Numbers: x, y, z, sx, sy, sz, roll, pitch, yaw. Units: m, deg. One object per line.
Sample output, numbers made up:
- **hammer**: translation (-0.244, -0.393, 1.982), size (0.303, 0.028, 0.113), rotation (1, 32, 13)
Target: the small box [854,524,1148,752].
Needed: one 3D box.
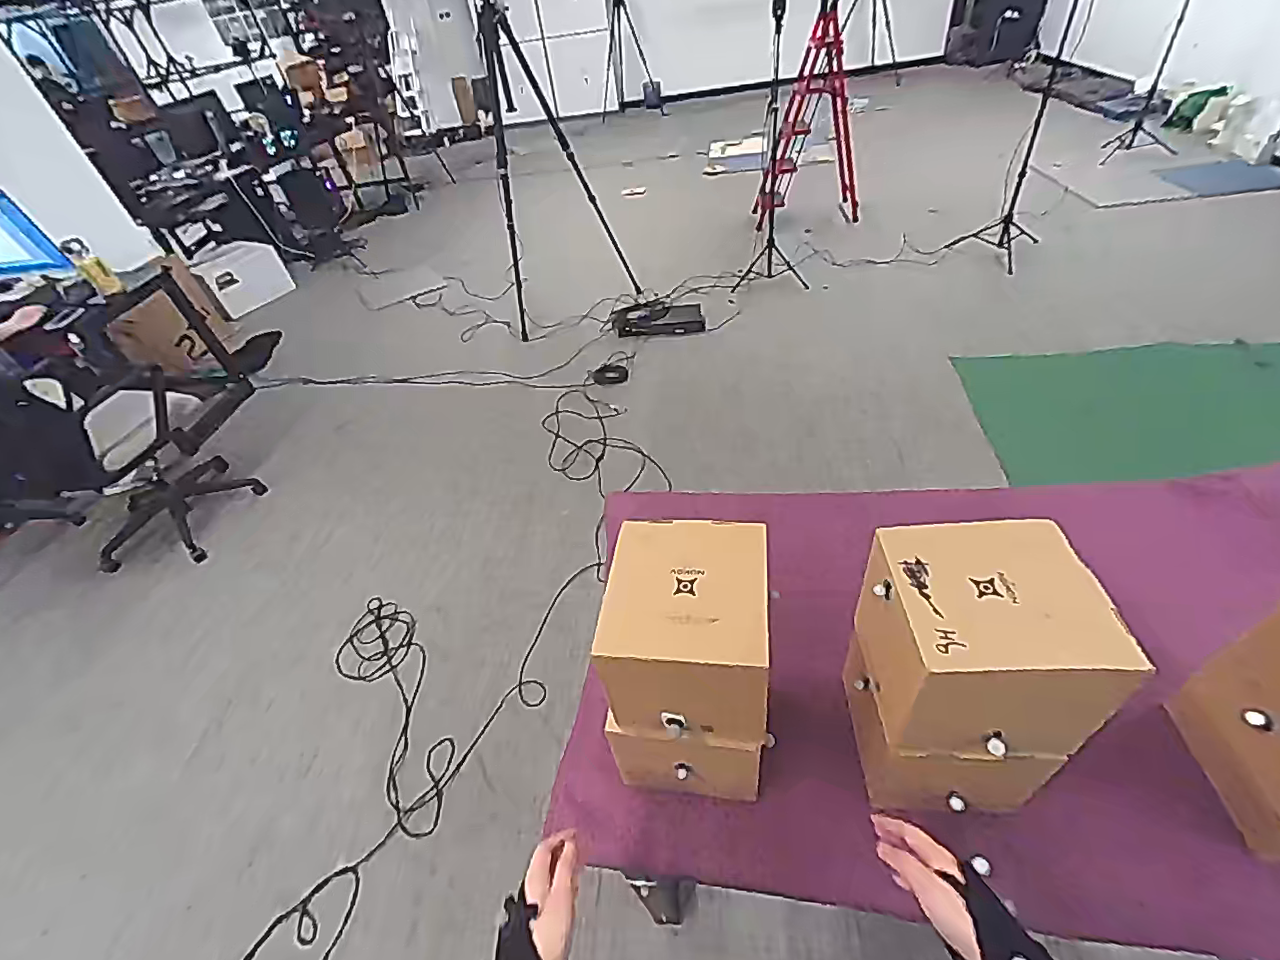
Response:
- **small box**: translation (0.338, 0.162, 0.555), size (0.179, 0.176, 0.168), rotation (-2, 42, 7)

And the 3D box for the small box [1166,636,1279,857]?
- **small box**: translation (0.746, 0.292, 0.587), size (0.168, 0.176, 0.179), rotation (-2, 44, 9)

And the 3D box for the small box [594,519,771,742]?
- **small box**: translation (0.058, 0.164, 0.604), size (0.168, 0.176, 0.179), rotation (0, 43, 11)

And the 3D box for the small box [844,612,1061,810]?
- **small box**: translation (0.359, 0.280, 0.667), size (0.168, 0.176, 0.179), rotation (-3, 43, 8)
